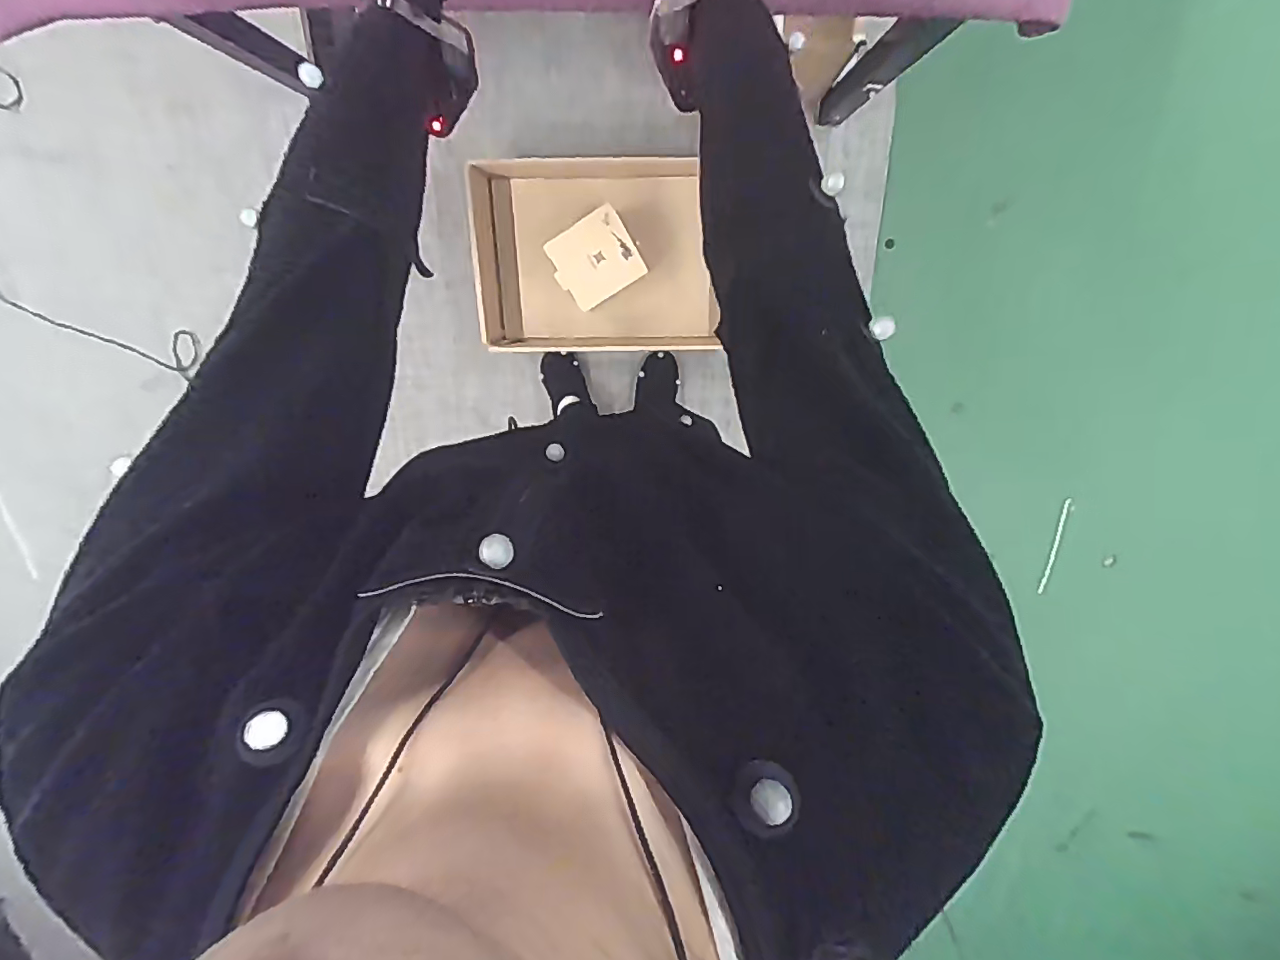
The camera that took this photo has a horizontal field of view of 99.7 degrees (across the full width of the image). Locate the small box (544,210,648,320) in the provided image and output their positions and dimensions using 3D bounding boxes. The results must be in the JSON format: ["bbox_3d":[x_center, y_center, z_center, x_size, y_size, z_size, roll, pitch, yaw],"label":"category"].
[{"bbox_3d":[-0.092,-0.488,1.244,0.179,0.176,0.168,-29,107,11],"label":"small box"}]

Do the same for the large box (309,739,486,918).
[{"bbox_3d":[-0.800,1.170,1.835,0.408,0.320,0.320,29,107,-7],"label":"large box"}]
